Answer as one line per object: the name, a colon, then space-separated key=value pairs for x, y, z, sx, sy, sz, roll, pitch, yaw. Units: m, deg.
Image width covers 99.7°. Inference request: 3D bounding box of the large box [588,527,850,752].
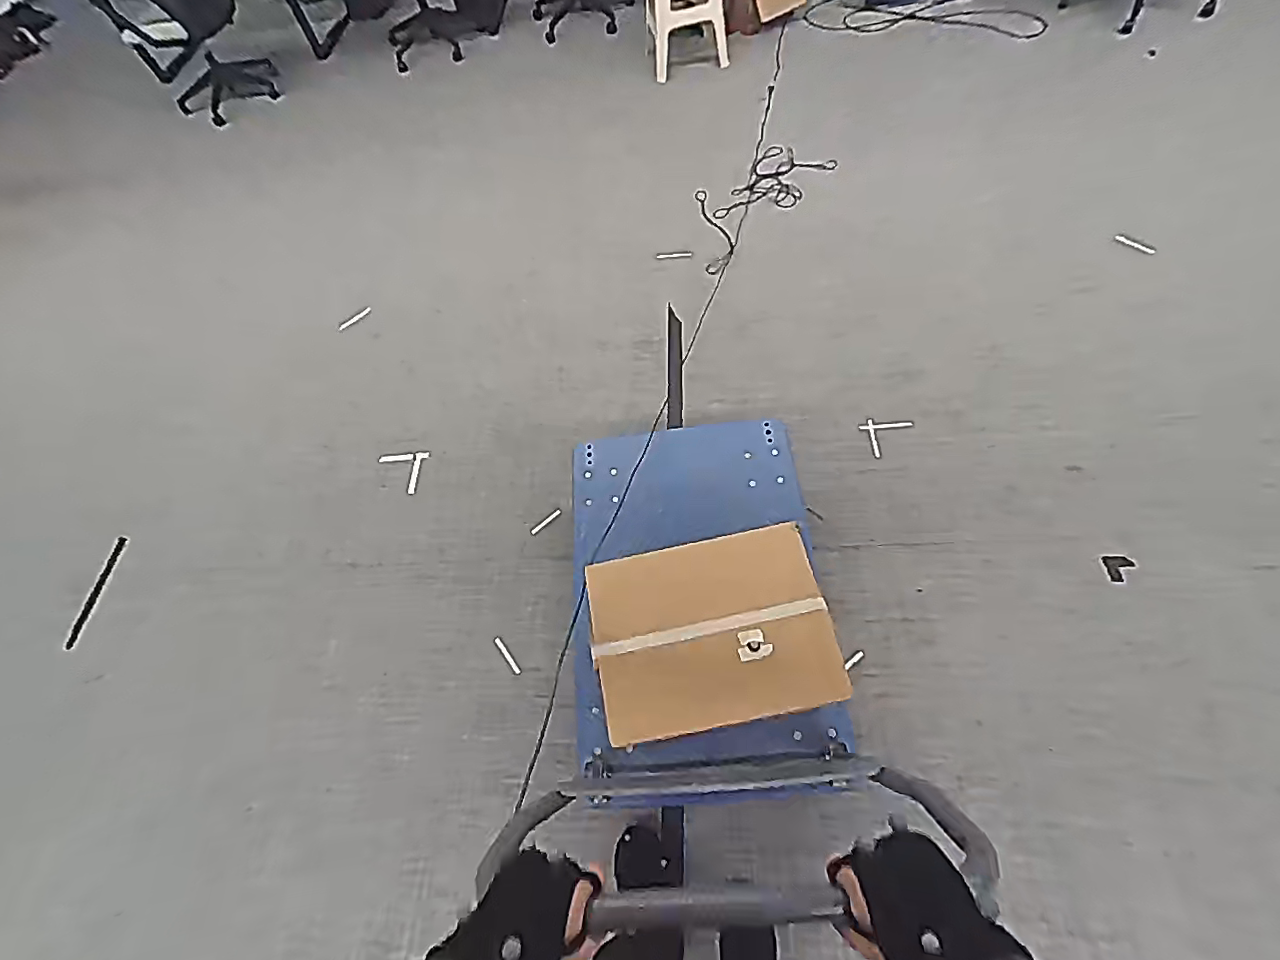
large box: x=0.140 y=0.330 z=1.084 sx=0.408 sy=0.320 sz=0.320 roll=-13 pitch=65 yaw=1
